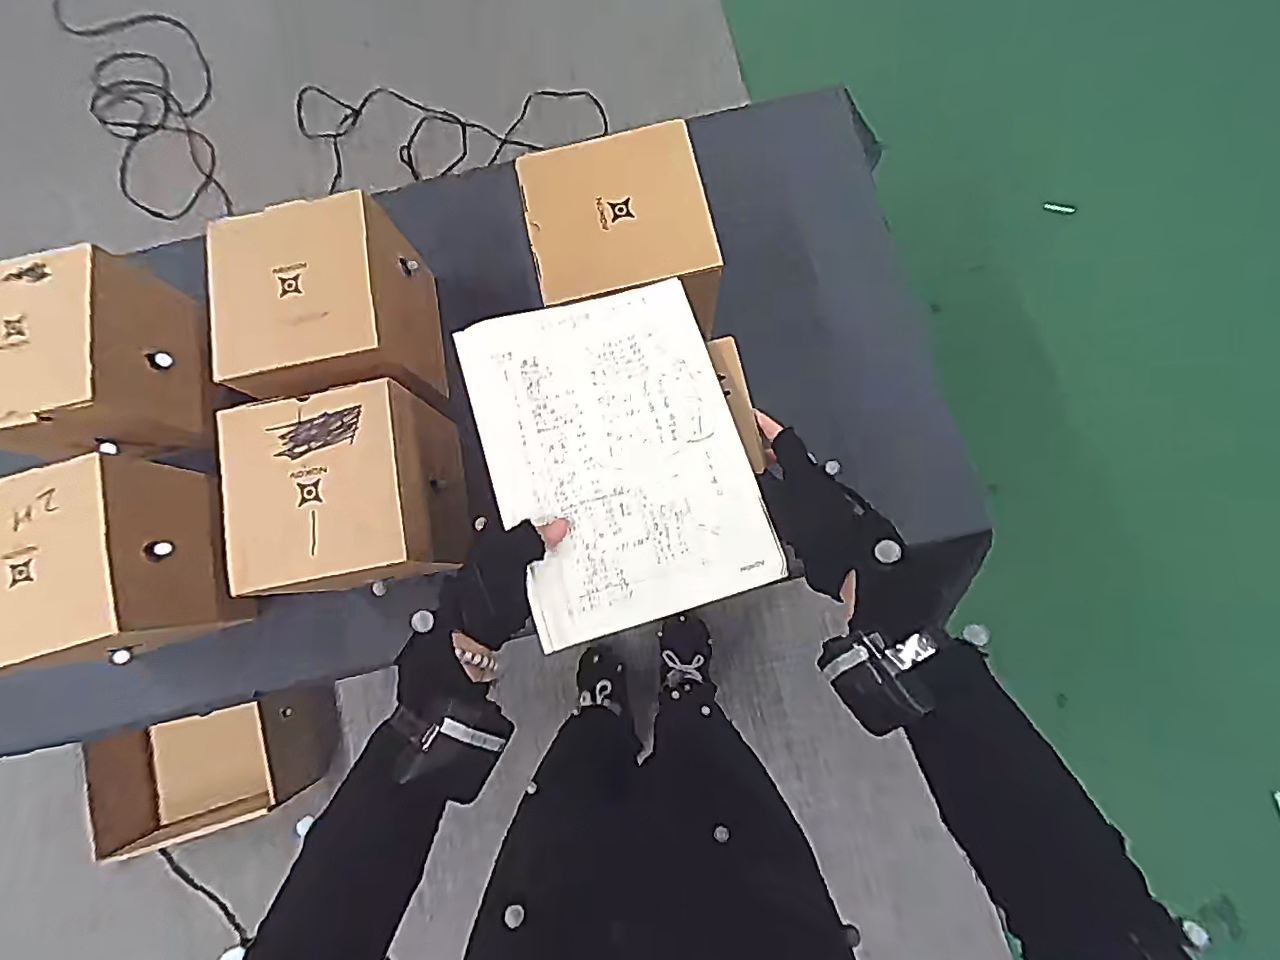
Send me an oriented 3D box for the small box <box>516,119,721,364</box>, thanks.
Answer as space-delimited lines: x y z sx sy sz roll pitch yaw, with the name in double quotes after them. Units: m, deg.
-0.019 -0.248 0.602 0.179 0.176 0.168 -13 80 2 "small box"
